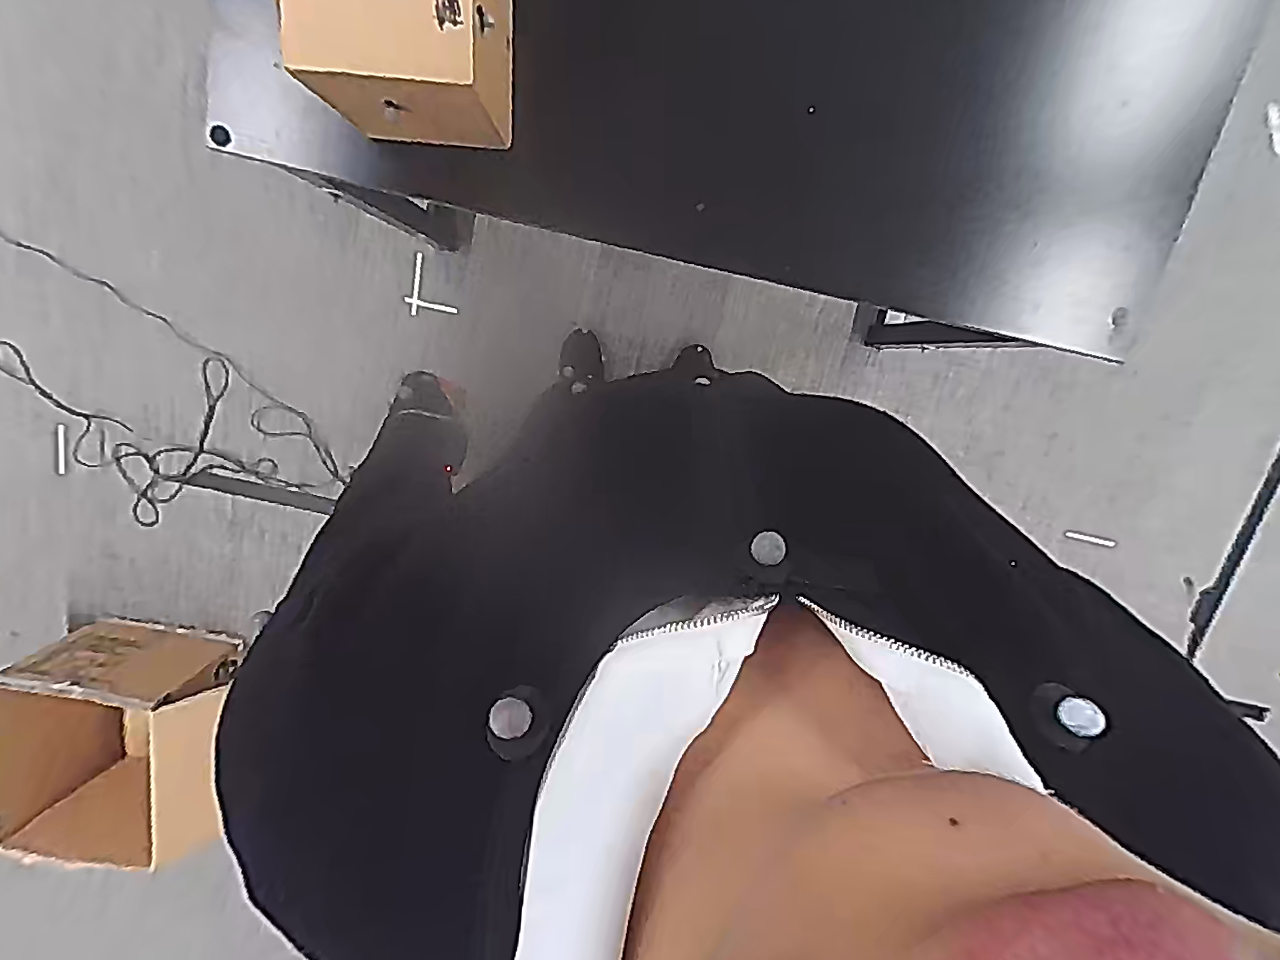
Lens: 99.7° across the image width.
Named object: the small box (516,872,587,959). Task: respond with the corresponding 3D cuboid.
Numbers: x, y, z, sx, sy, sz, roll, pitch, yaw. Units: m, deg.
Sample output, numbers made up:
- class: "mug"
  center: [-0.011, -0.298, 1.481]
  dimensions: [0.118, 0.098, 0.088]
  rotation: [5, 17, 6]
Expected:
- class: "small box"
  center: [-0.273, 1.391, 1.714]
  dimensions: [0.179, 0.176, 0.168]
  rotation: [16, 100, -4]
